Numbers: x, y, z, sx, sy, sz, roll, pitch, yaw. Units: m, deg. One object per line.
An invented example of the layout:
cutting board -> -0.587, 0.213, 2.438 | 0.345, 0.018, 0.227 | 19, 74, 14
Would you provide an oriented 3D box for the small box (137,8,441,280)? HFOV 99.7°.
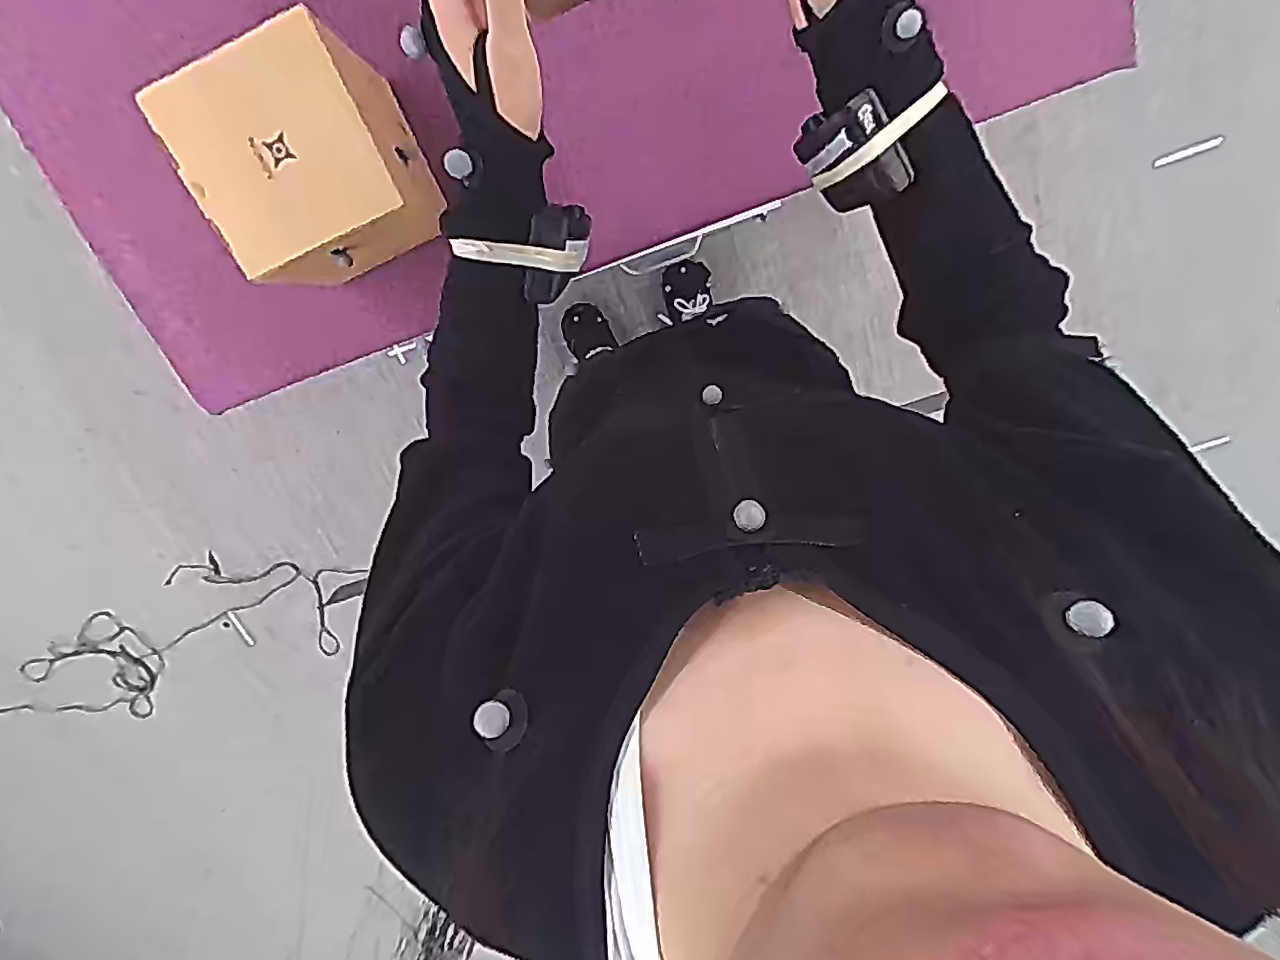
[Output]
small box -> -0.330, -0.322, 0.560 | 0.179, 0.176, 0.168 | -22, 109, 7
